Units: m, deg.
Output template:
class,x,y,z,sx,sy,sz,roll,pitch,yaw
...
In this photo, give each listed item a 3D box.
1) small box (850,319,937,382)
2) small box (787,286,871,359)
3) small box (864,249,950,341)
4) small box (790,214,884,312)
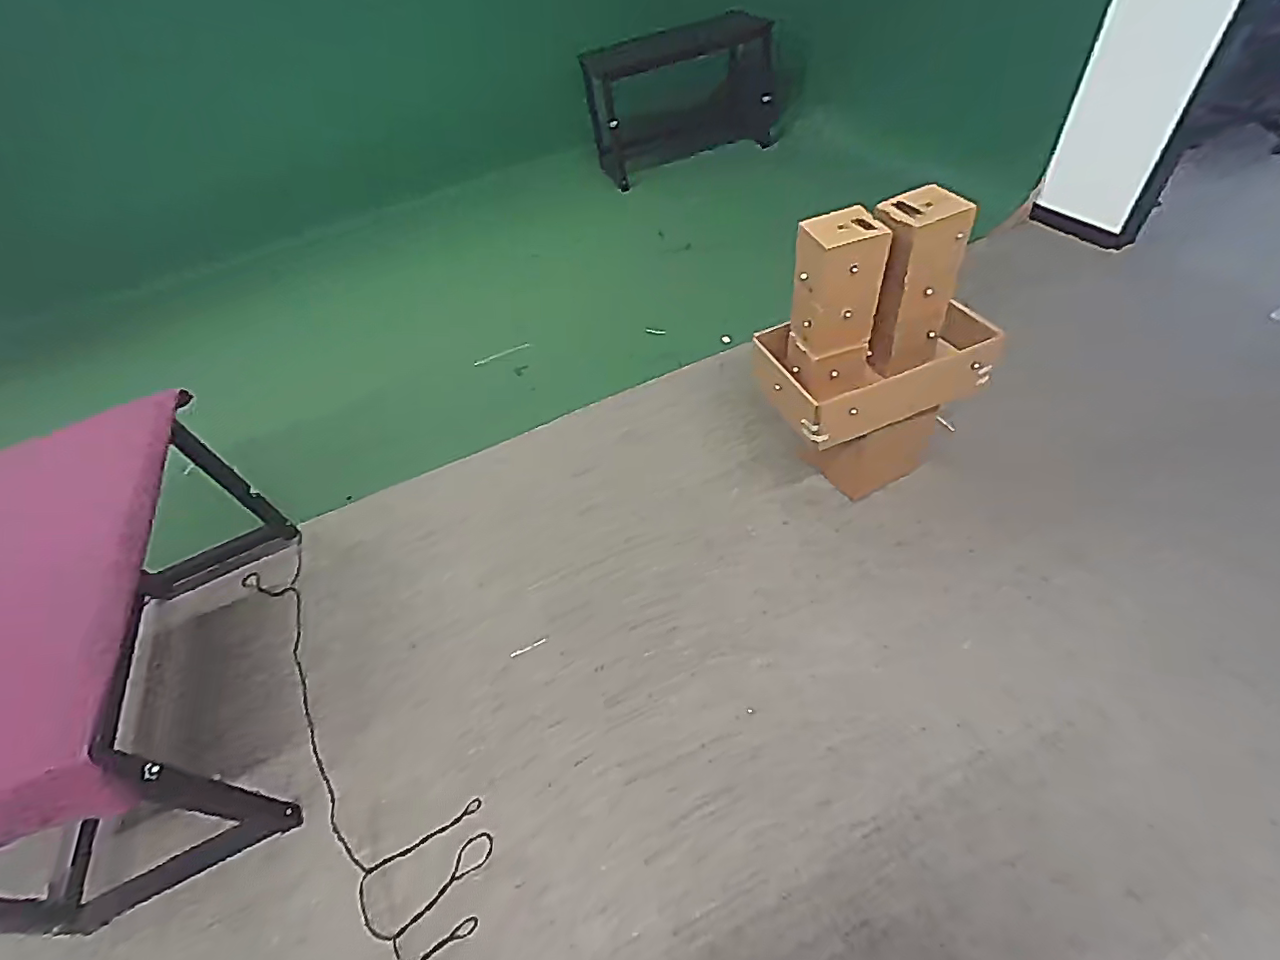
class,x,y,z,sx,sy,sz,roll,pitch,yaw
small box,0.796,-0.443,1.720,0.179,0.176,0.168,-22,49,-6
small box,0.543,-0.477,1.582,0.179,0.176,0.168,-16,49,-4
small box,0.766,-0.544,1.598,0.179,0.176,0.168,-24,50,-6
small box,0.521,-0.583,1.459,0.179,0.176,0.168,-16,49,-3
